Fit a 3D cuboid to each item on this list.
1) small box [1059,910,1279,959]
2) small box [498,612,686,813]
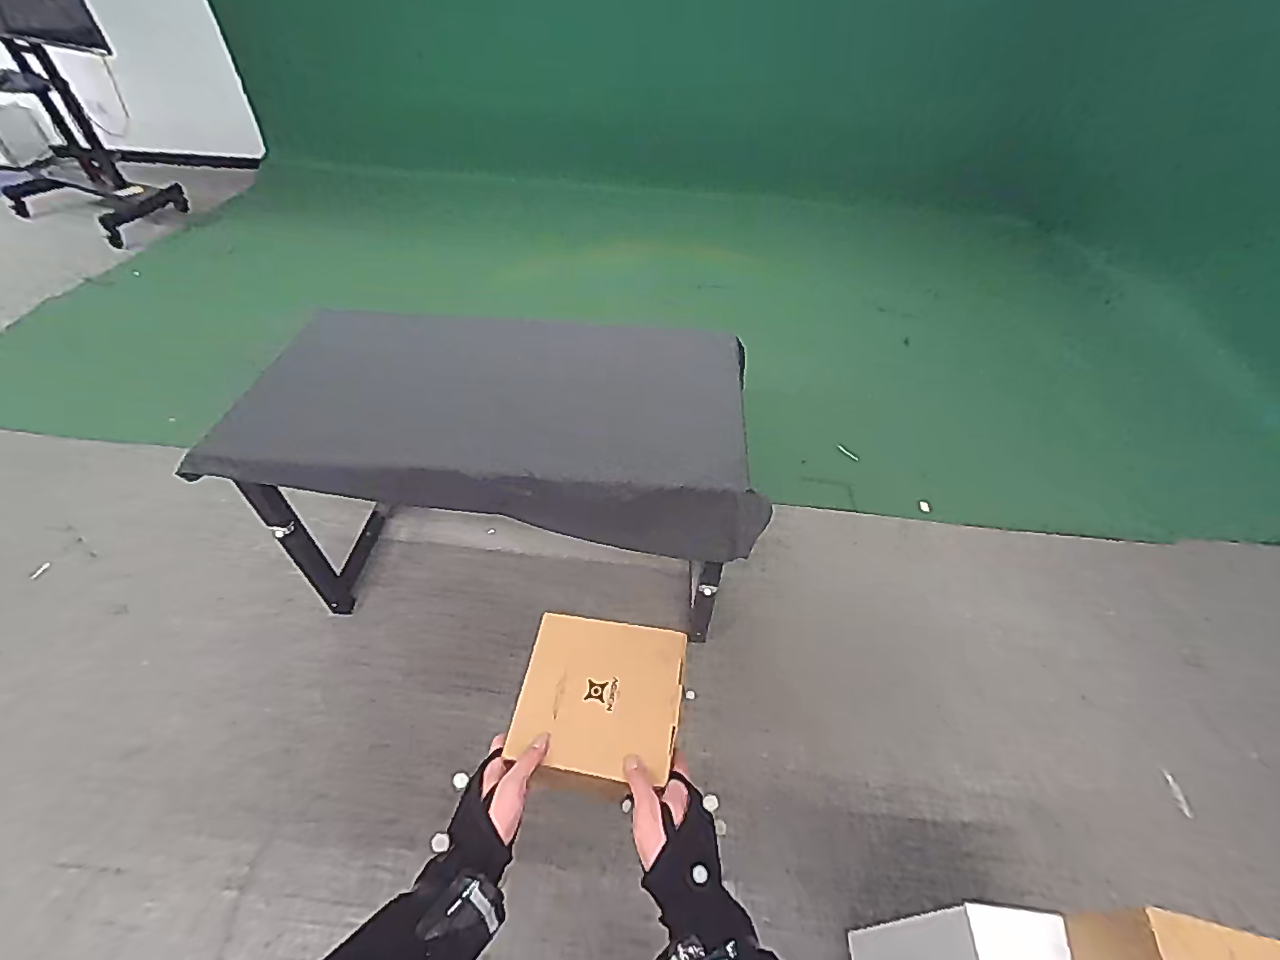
[{"bbox_3d":[0.653,0.652,0.643,0.168,0.176,0.179,13,47,7],"label":"small box"},{"bbox_3d":[-0.042,0.278,0.640,0.179,0.176,0.168,5,49,8],"label":"small box"}]
